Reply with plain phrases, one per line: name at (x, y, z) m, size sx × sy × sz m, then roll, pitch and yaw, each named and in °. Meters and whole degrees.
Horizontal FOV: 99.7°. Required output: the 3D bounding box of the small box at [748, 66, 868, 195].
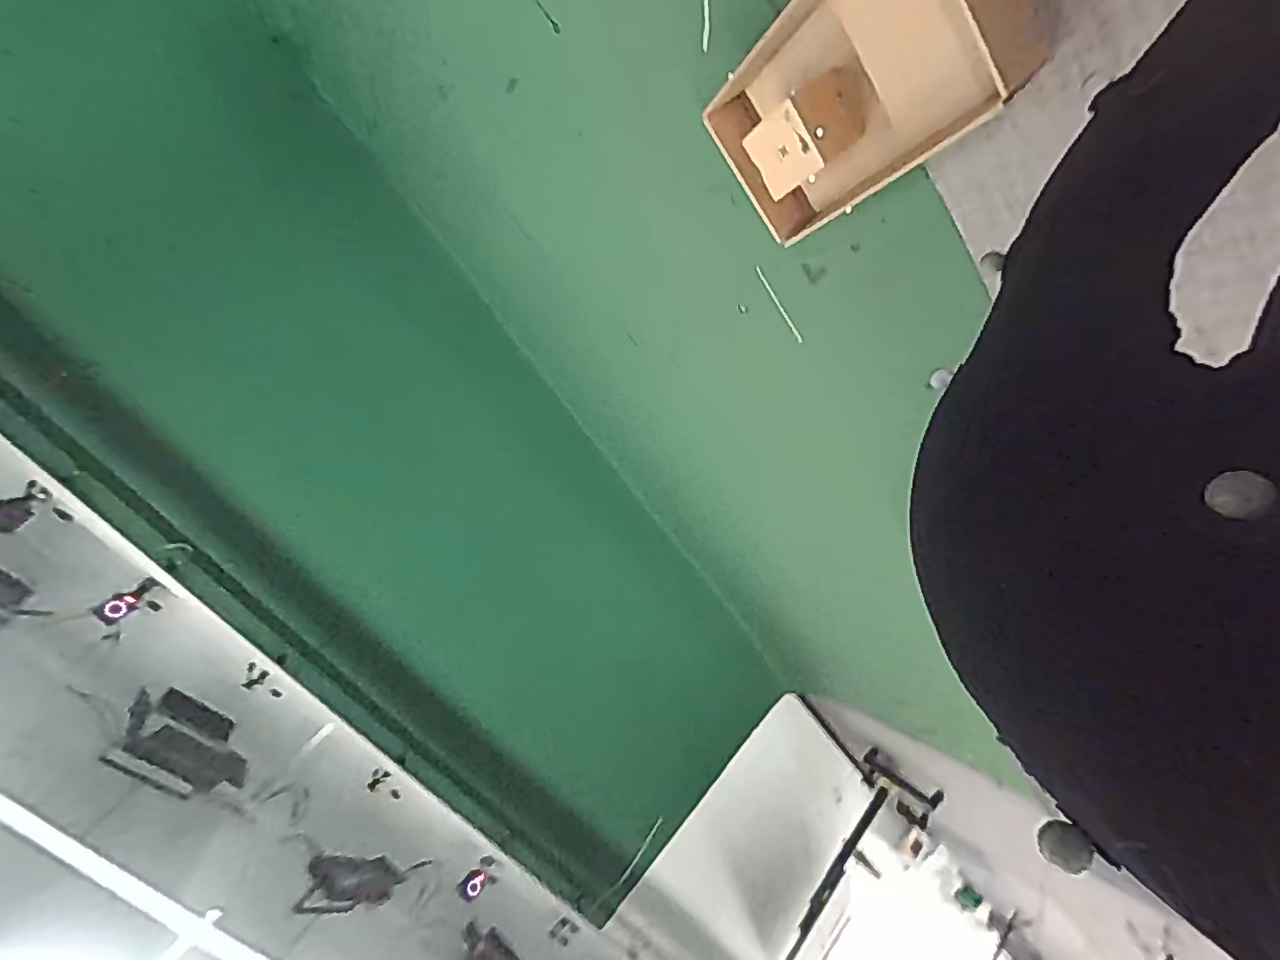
small box at (0.402, -0.831, 1.294) m, size 0.168 × 0.176 × 0.179 m, roll 53°, pitch 160°, yaw -15°
